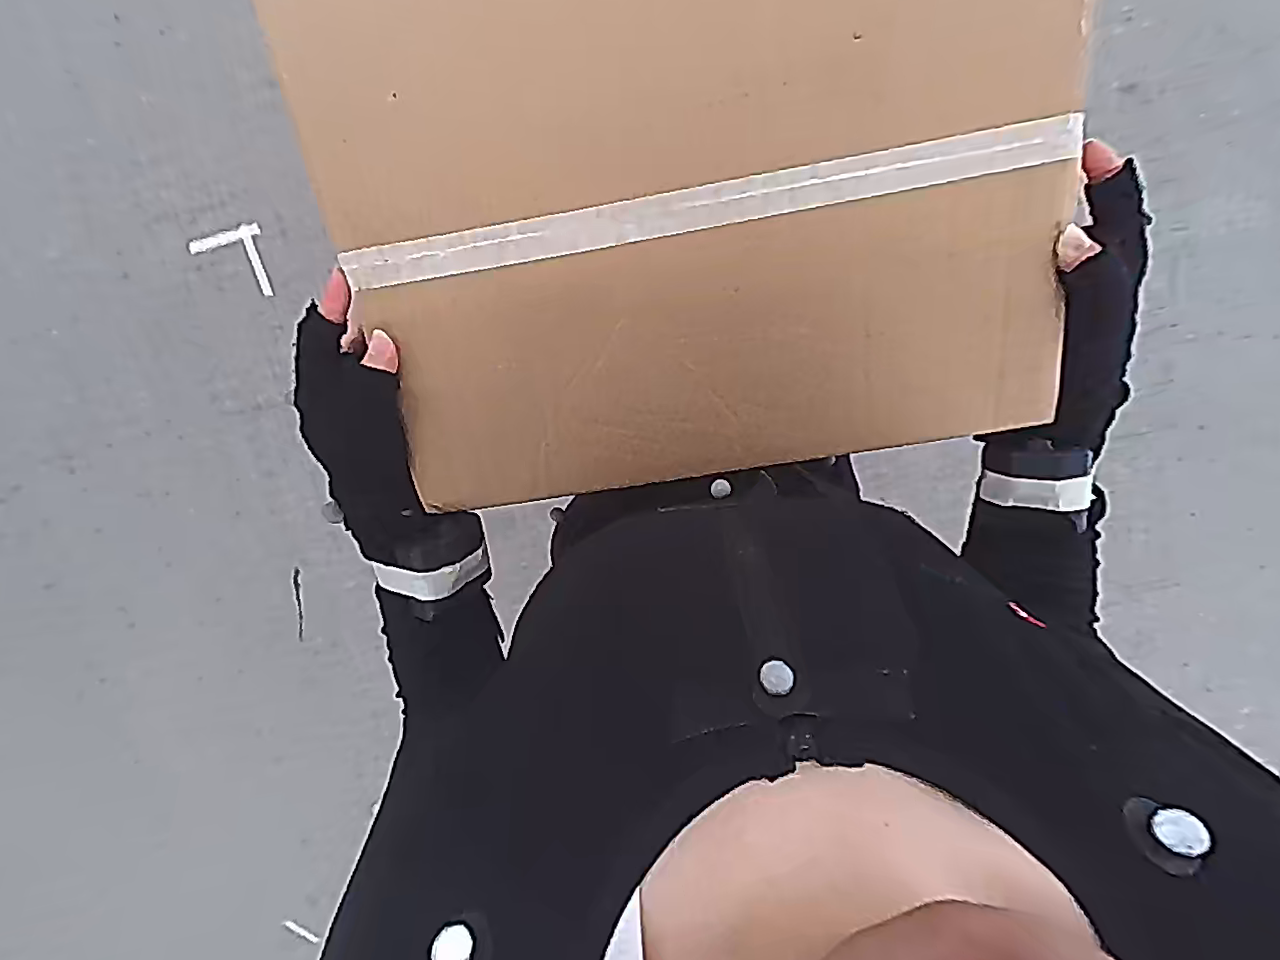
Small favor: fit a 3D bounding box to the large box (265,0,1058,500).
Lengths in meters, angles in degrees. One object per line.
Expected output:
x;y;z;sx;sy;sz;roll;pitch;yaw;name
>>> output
0.028;-0.210;0.447;0.408;0.320;0.320;-8;110;4;large box
